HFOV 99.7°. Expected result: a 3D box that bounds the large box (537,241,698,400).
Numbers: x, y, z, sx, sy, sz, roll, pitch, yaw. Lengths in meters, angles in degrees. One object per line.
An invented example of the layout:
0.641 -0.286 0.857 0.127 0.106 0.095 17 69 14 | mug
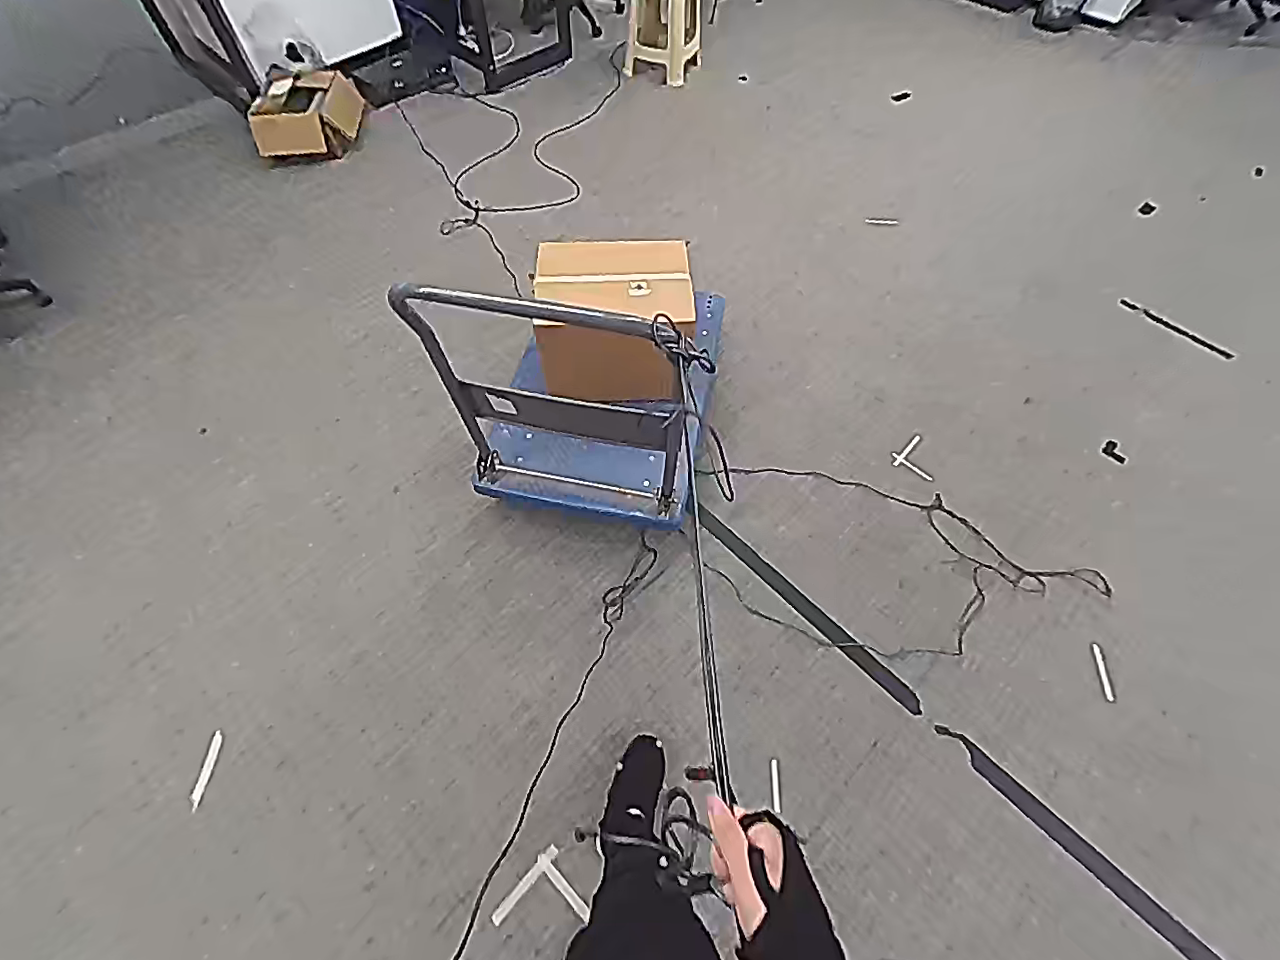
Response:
-0.065 -0.440 1.518 0.408 0.320 0.320 -1 61 -2 | large box
